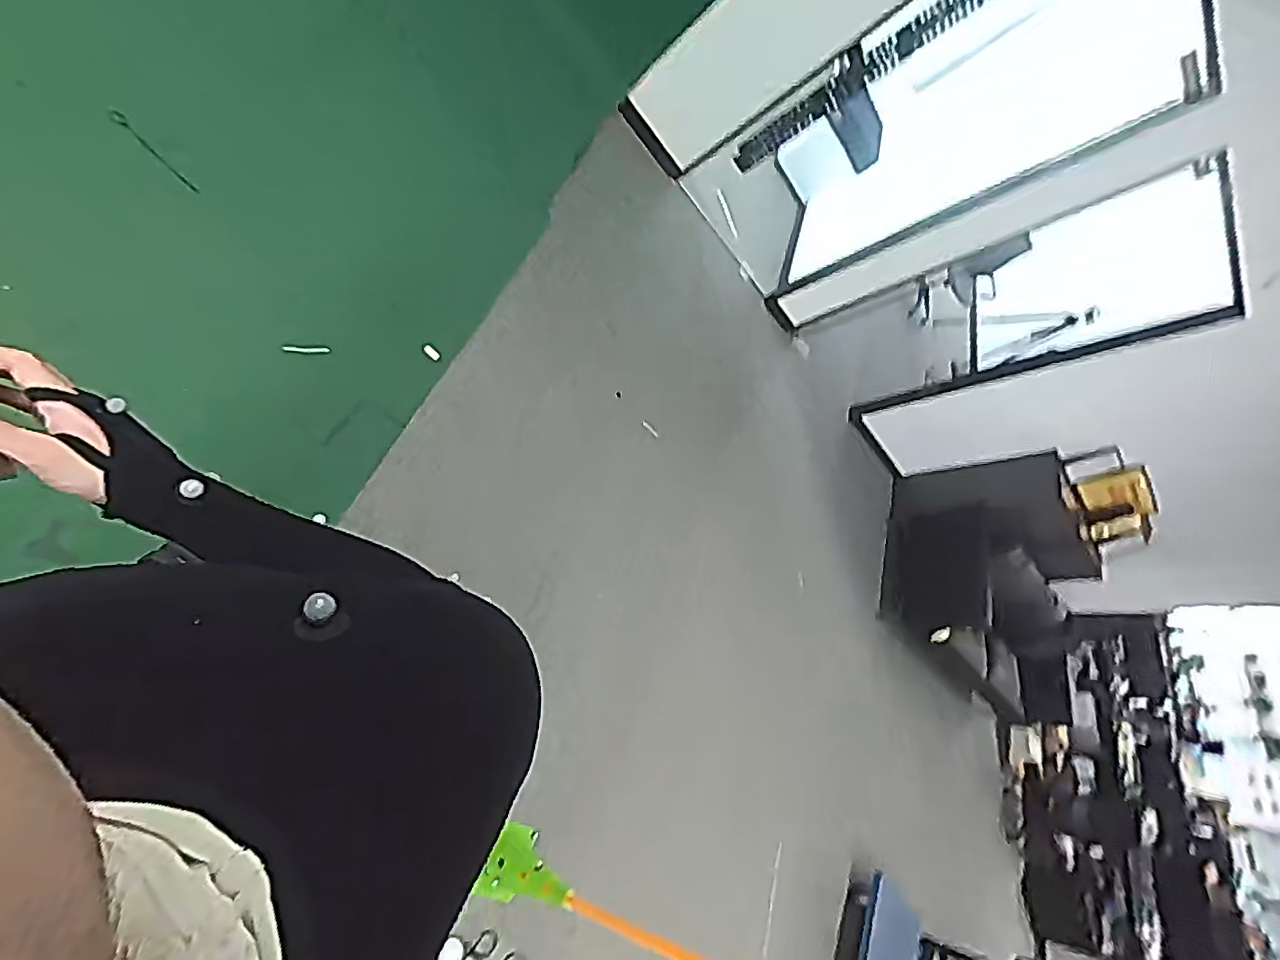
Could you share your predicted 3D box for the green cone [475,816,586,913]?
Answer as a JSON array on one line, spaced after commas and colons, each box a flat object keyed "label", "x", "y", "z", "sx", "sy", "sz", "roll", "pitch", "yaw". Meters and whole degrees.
[{"label": "green cone", "x": -0.280, "y": 1.146, "z": 1.558, "sx": 0.200, "sy": 0.368, "sz": 0.202, "roll": 41, "pitch": 56, "yaw": -30}]
